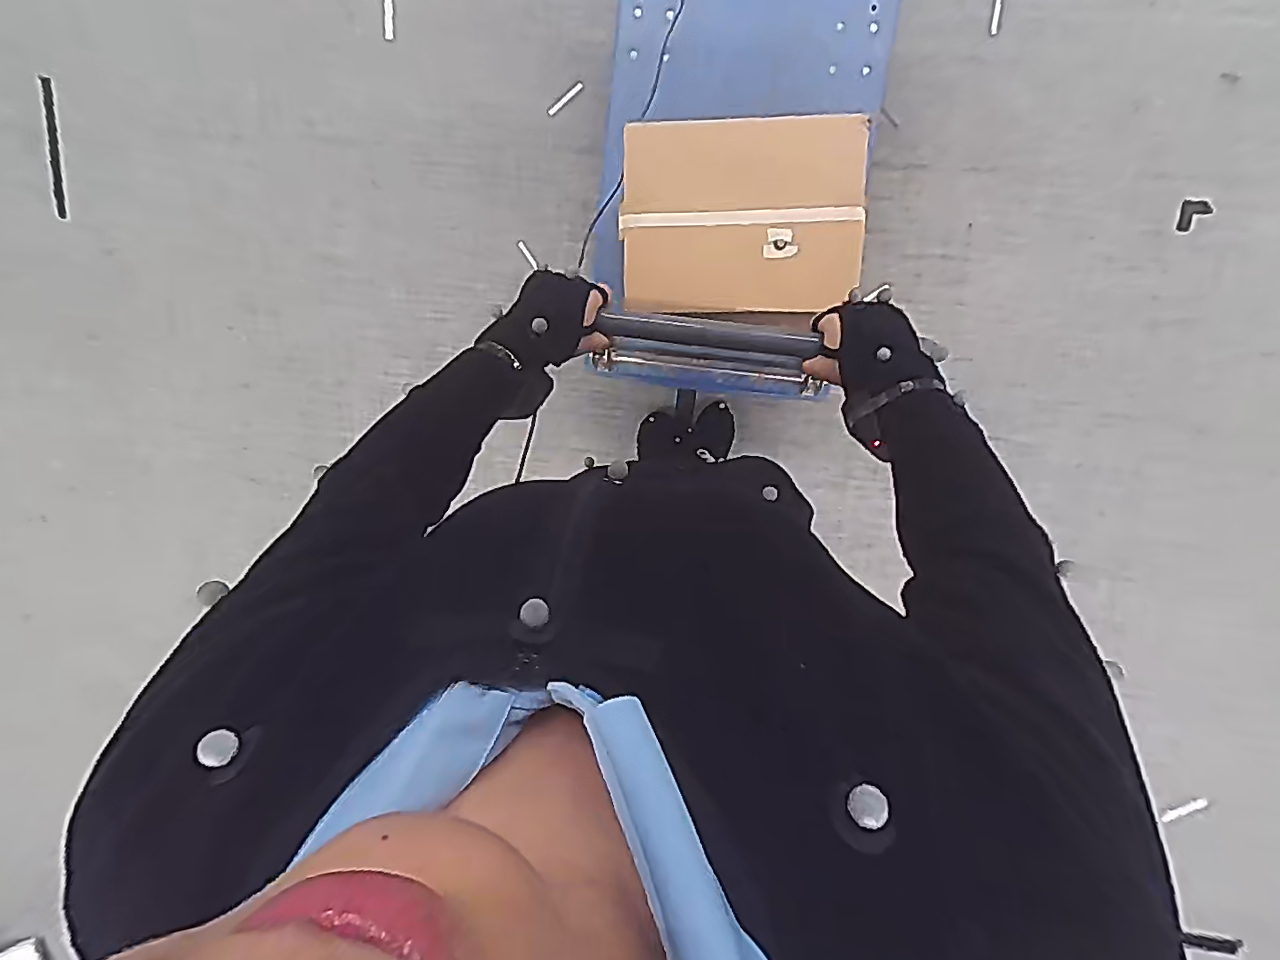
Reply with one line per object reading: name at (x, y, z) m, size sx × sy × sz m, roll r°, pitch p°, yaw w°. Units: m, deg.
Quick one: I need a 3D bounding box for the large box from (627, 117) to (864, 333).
large box at (0.188, -0.474, 1.083) m, size 0.408 × 0.320 × 0.320 m, roll 1°, pitch 100°, yaw 5°
